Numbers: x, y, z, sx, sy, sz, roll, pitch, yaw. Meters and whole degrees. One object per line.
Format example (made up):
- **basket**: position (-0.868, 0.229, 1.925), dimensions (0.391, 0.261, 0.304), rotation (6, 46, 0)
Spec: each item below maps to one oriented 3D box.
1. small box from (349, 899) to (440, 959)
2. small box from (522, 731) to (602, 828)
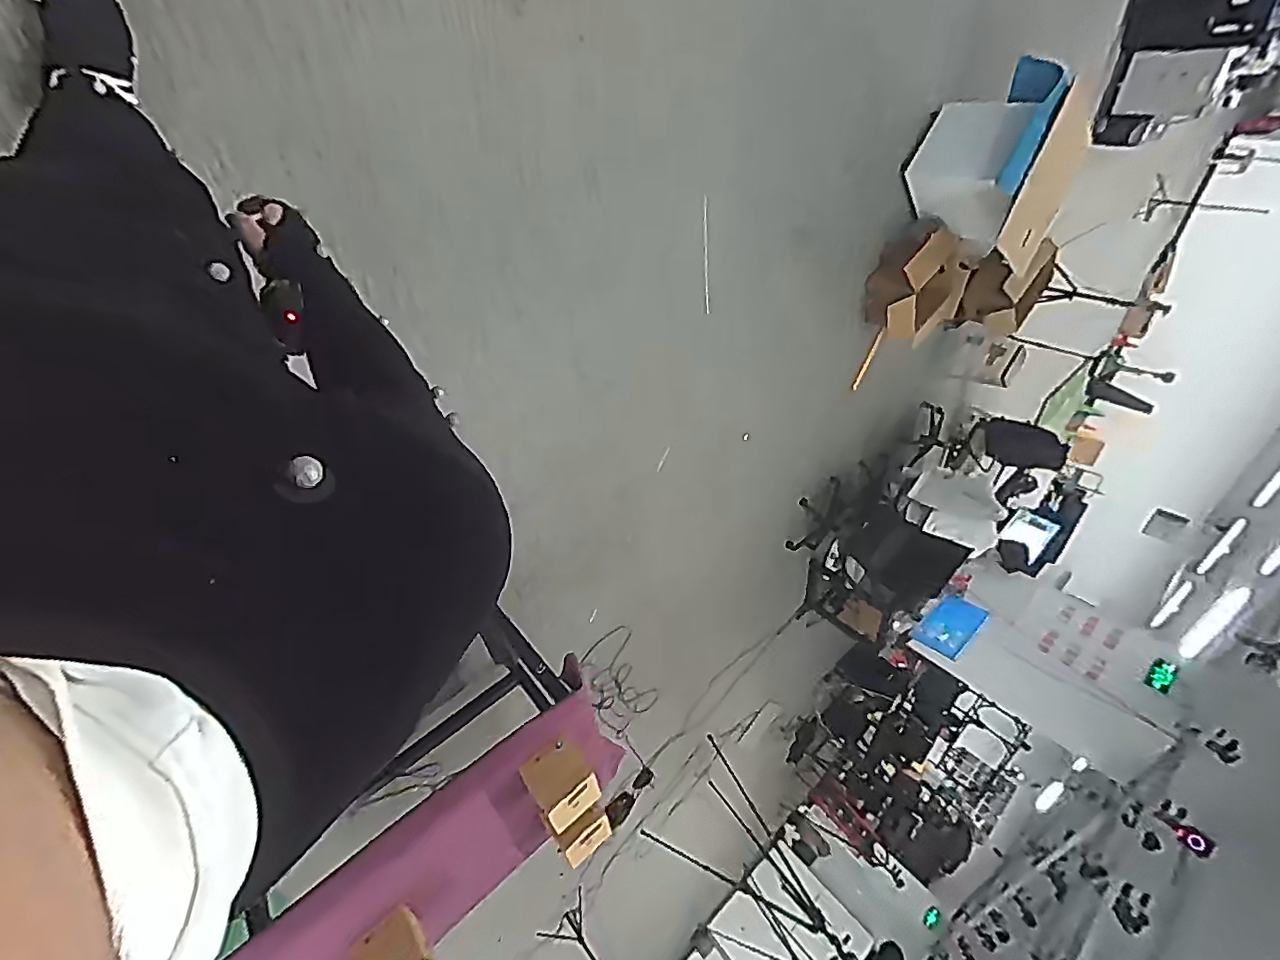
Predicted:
- **small box**: position (-0.672, 1.316, 1.495), dimensions (0.168, 0.176, 0.179), rotation (-29, 135, -31)
- **small box**: position (-0.240, 0.907, 1.655), dimensions (0.168, 0.176, 0.179), rotation (-31, 137, -27)
